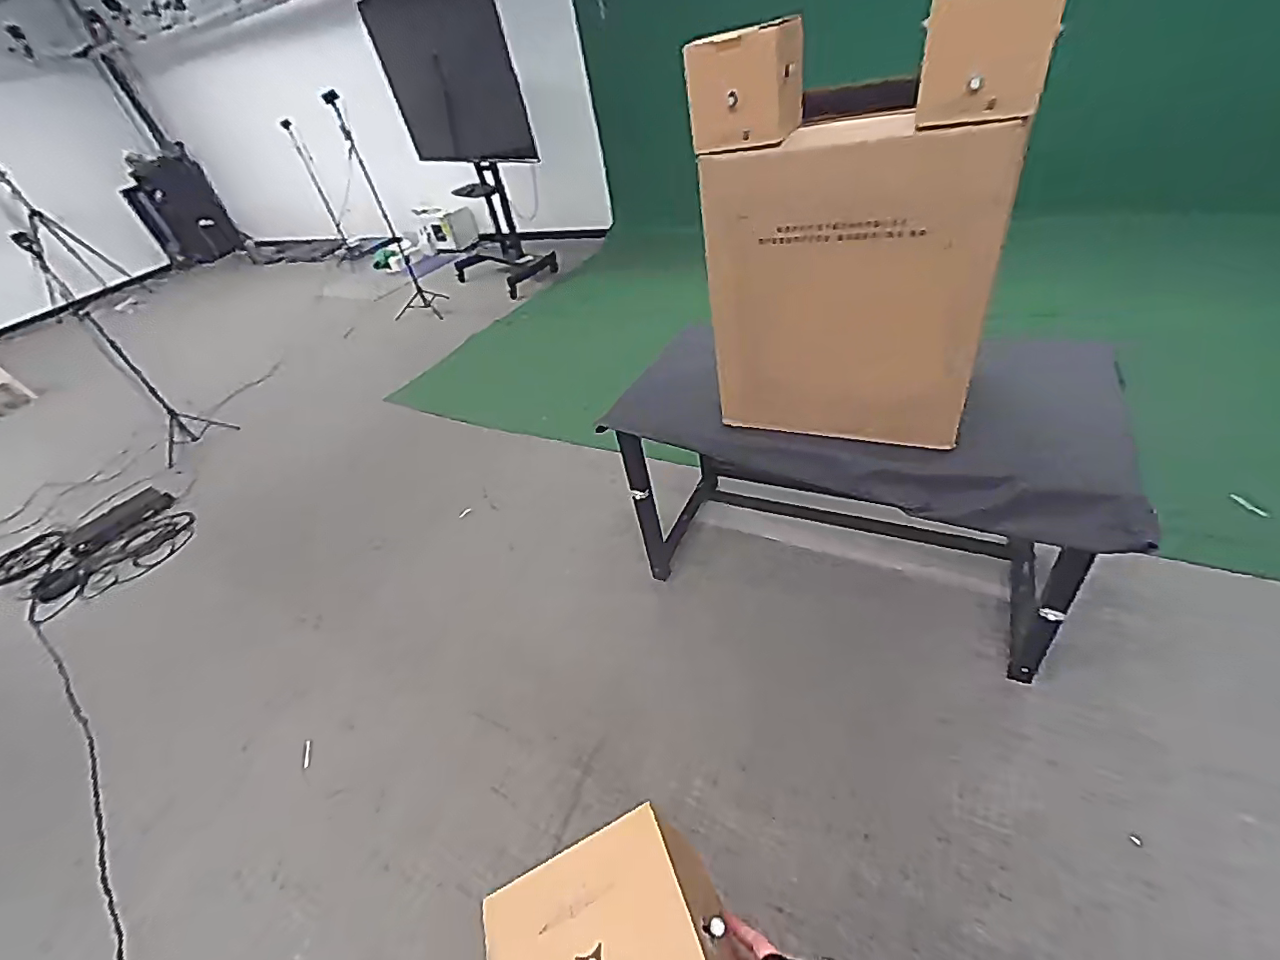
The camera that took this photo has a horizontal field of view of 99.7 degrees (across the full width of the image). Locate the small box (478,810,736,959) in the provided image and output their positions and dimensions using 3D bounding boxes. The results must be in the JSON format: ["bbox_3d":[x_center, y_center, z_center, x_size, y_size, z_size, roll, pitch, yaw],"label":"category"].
[{"bbox_3d":[-0.010,0.422,0.445,0.168,0.176,0.179,-29,38,-3],"label":"small box"}]

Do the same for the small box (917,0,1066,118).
[{"bbox_3d":[0.530,-0.670,0.823,0.168,0.176,0.179,10,46,26],"label":"small box"}]

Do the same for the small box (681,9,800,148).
[{"bbox_3d":[0.195,-0.726,0.993,0.168,0.176,0.179,9,45,27],"label":"small box"}]
